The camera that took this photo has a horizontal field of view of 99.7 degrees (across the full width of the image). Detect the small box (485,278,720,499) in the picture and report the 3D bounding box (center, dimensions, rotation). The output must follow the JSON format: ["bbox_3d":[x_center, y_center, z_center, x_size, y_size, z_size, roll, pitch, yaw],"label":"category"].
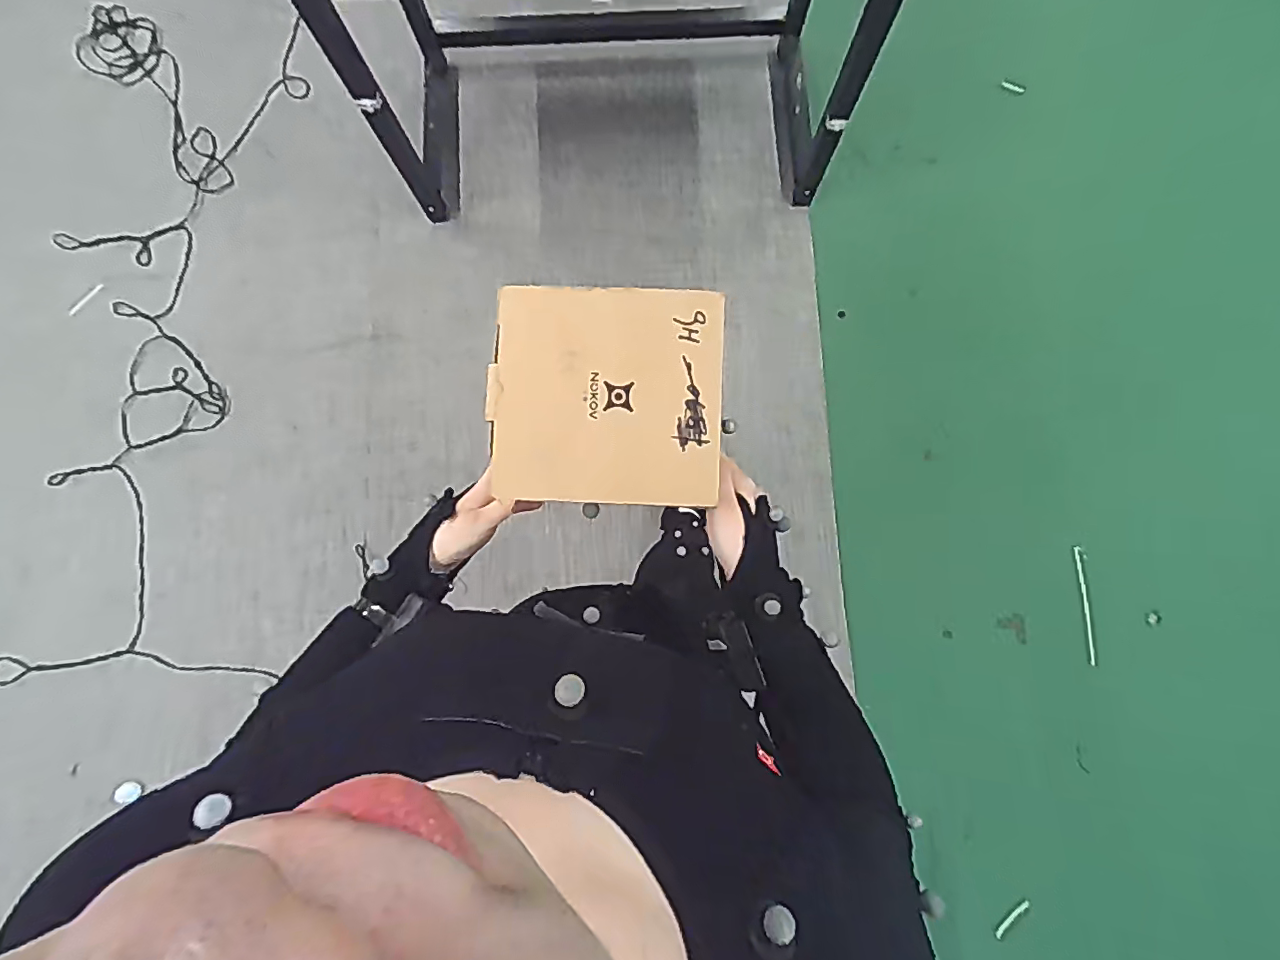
[{"bbox_3d":[-0.026,-0.068,0.490,0.179,0.176,0.168,2,89,1],"label":"small box"}]
